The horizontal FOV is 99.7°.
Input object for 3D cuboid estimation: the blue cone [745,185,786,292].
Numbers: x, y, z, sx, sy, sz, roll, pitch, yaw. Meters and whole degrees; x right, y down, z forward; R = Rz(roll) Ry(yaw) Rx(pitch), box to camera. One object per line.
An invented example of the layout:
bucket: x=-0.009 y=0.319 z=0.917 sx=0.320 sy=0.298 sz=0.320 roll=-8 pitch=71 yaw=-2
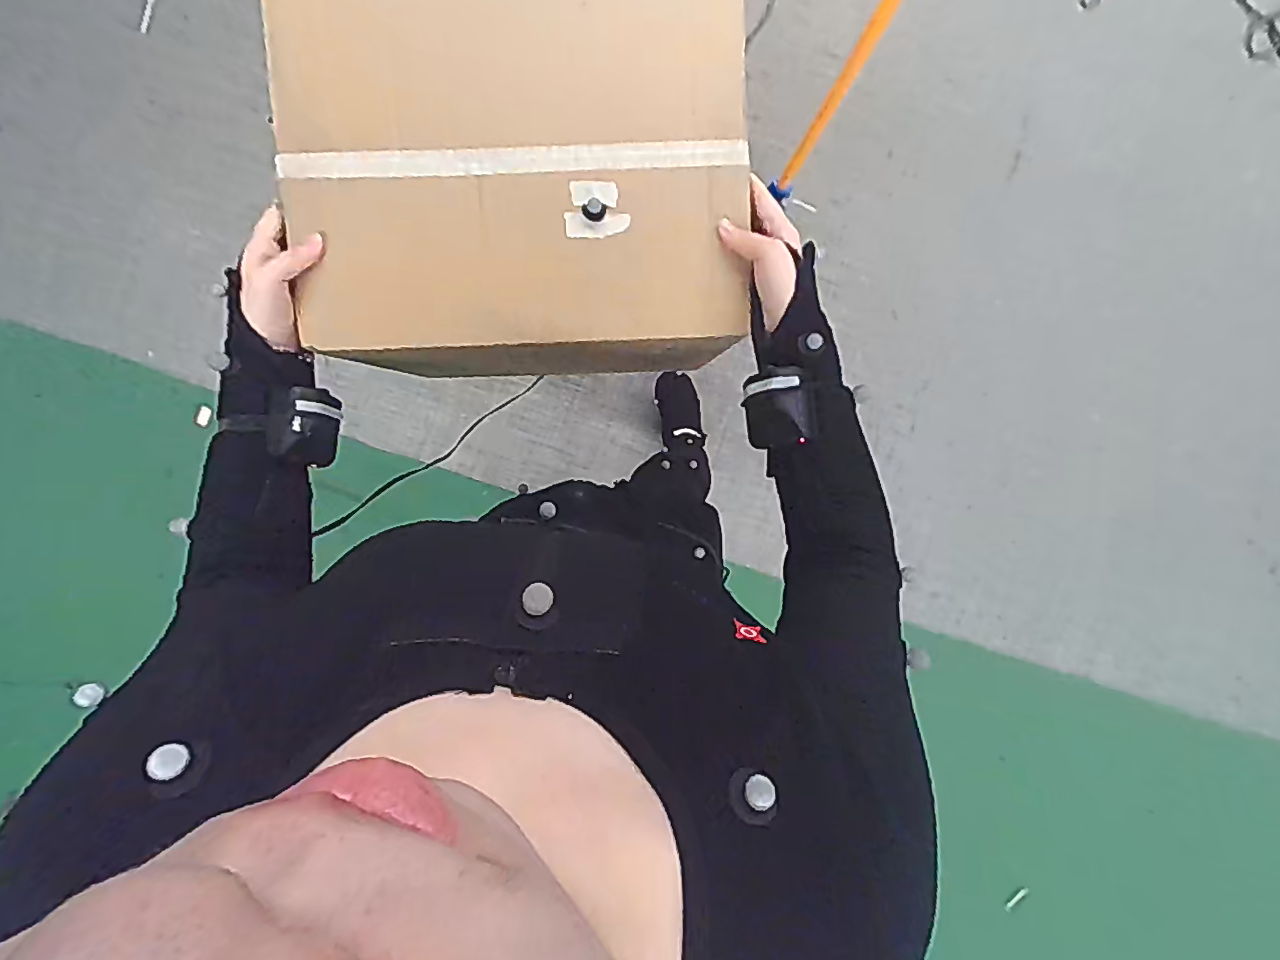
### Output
blue cone: x=0.286 y=-0.619 z=1.309 sx=0.193 sy=0.380 sz=0.192 roll=27 pitch=93 yaw=-3

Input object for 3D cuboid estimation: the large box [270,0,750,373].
large box: x=-0.115 y=-0.306 z=0.625 sx=0.408 sy=0.320 sz=0.320 roll=-4 pitch=97 yaw=-3
